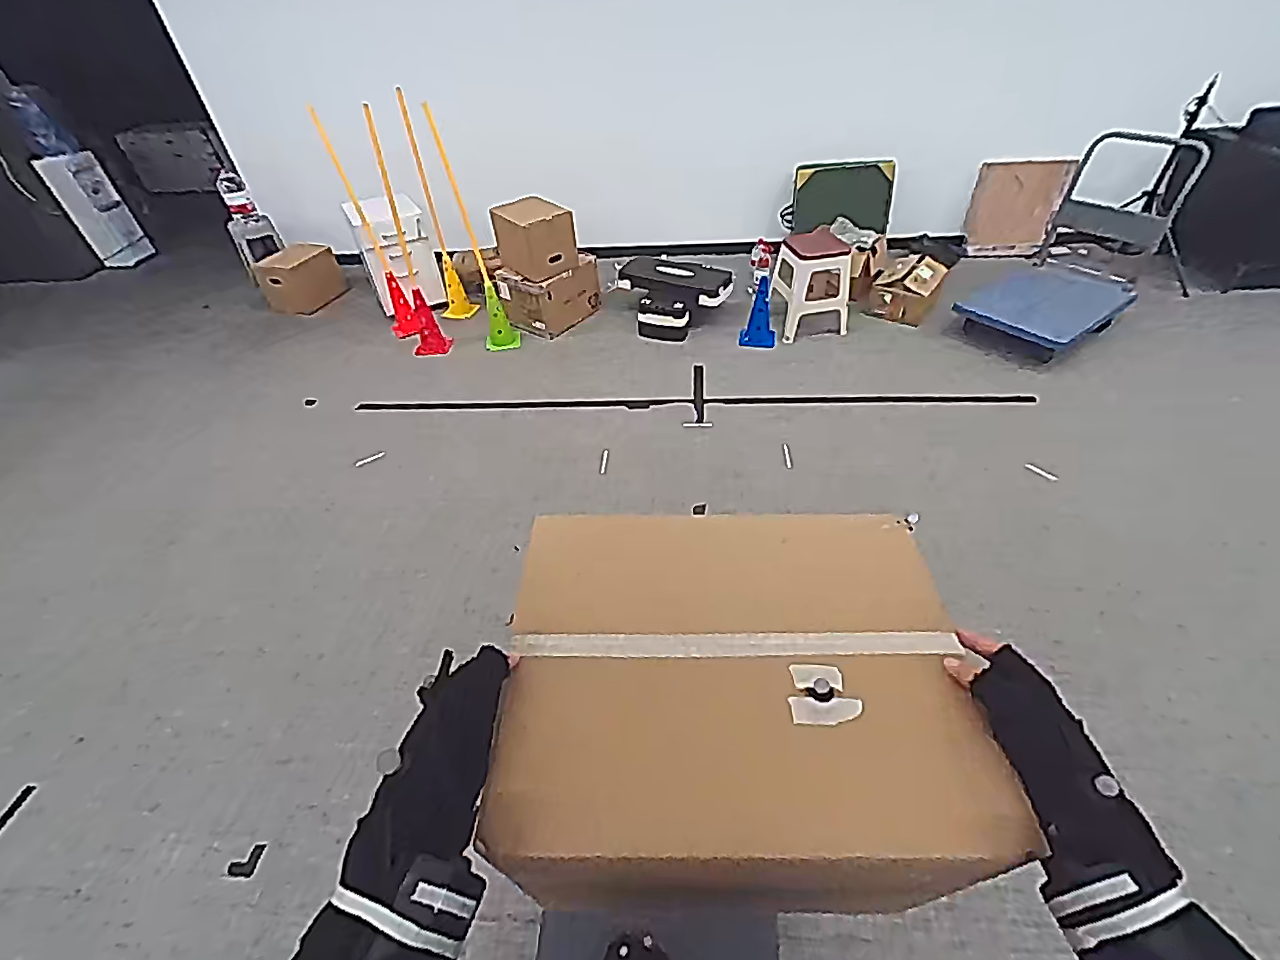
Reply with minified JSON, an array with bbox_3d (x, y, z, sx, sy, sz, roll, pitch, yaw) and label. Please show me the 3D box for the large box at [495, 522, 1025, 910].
[{"bbox_3d":[0.087,0.263,0.607,0.408,0.320,0.320,0,46,1],"label":"large box"}]
